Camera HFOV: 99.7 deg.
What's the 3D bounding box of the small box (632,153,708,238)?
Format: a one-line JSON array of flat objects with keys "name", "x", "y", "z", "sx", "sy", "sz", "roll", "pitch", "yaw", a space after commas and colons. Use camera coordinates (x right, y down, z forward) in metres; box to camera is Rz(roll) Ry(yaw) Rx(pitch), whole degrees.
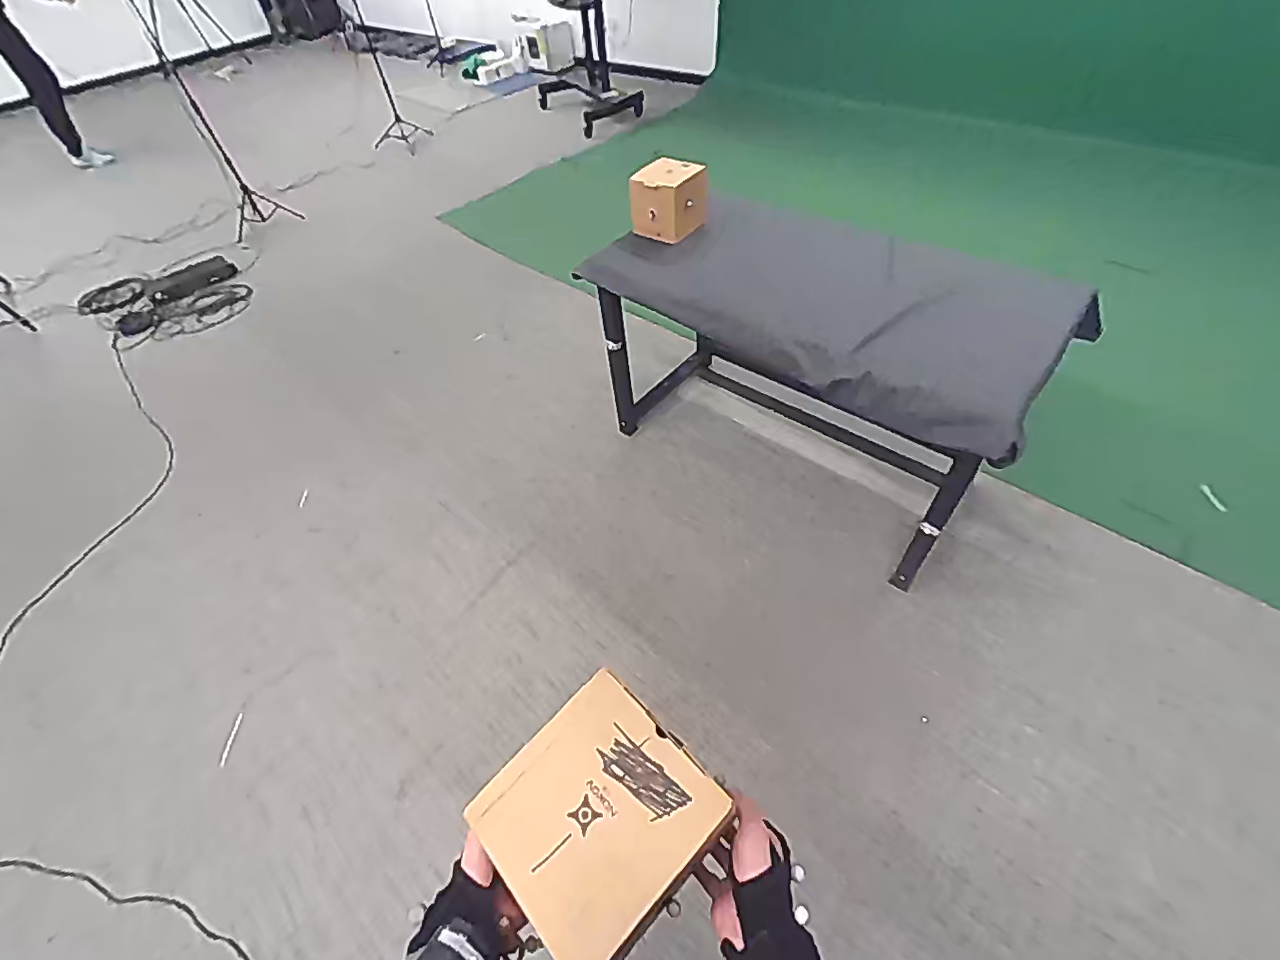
[{"name": "small box", "x": 0.099, "y": -0.873, "z": 1.662, "sx": 0.168, "sy": 0.176, "sz": 0.179, "roll": 28, "pitch": 59, "yaw": 25}]
